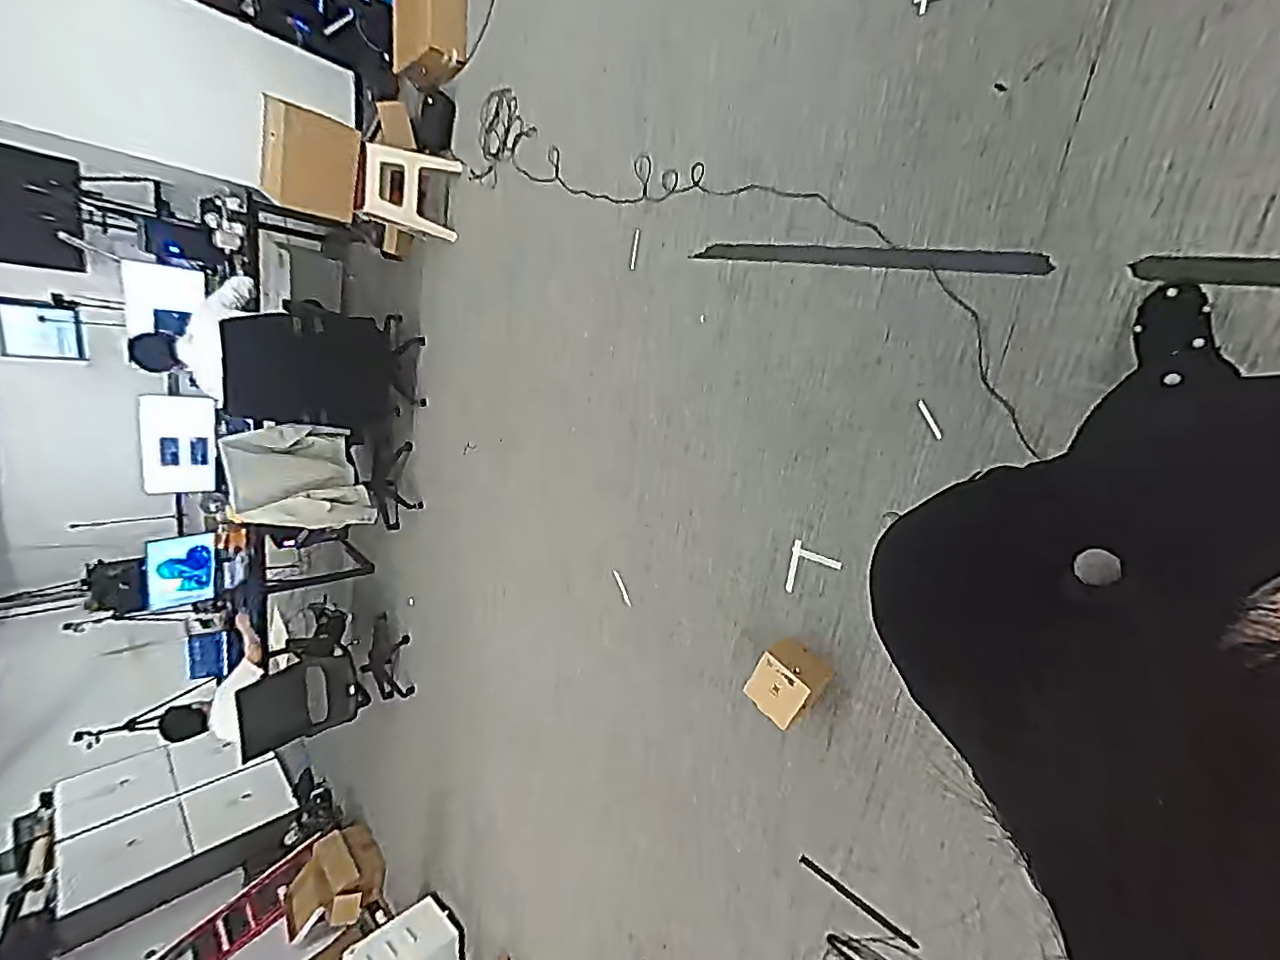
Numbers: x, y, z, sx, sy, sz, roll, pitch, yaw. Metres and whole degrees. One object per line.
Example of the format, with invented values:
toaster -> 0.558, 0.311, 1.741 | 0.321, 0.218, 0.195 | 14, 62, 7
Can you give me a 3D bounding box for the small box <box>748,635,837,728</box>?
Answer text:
small box -> 0.465, 0.604, 1.639 | 0.168, 0.176, 0.179 | 38, 120, 34
